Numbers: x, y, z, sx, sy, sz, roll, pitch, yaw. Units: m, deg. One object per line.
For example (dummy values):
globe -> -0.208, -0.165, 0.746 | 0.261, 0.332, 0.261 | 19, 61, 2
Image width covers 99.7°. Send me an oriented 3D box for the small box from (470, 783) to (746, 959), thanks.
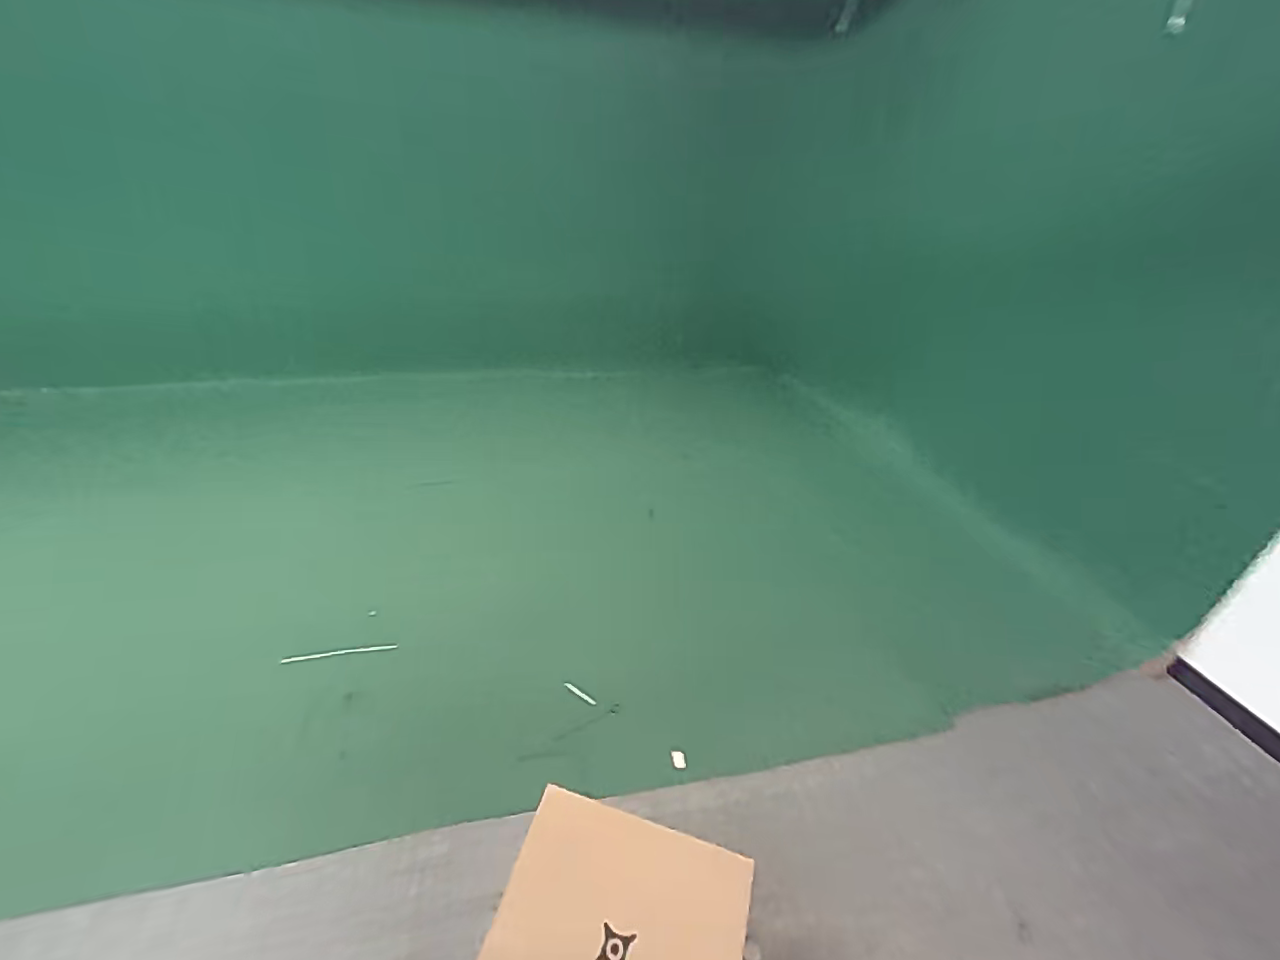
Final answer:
small box -> -0.028, 0.370, 0.406 | 0.168, 0.176, 0.179 | 13, 46, 12
